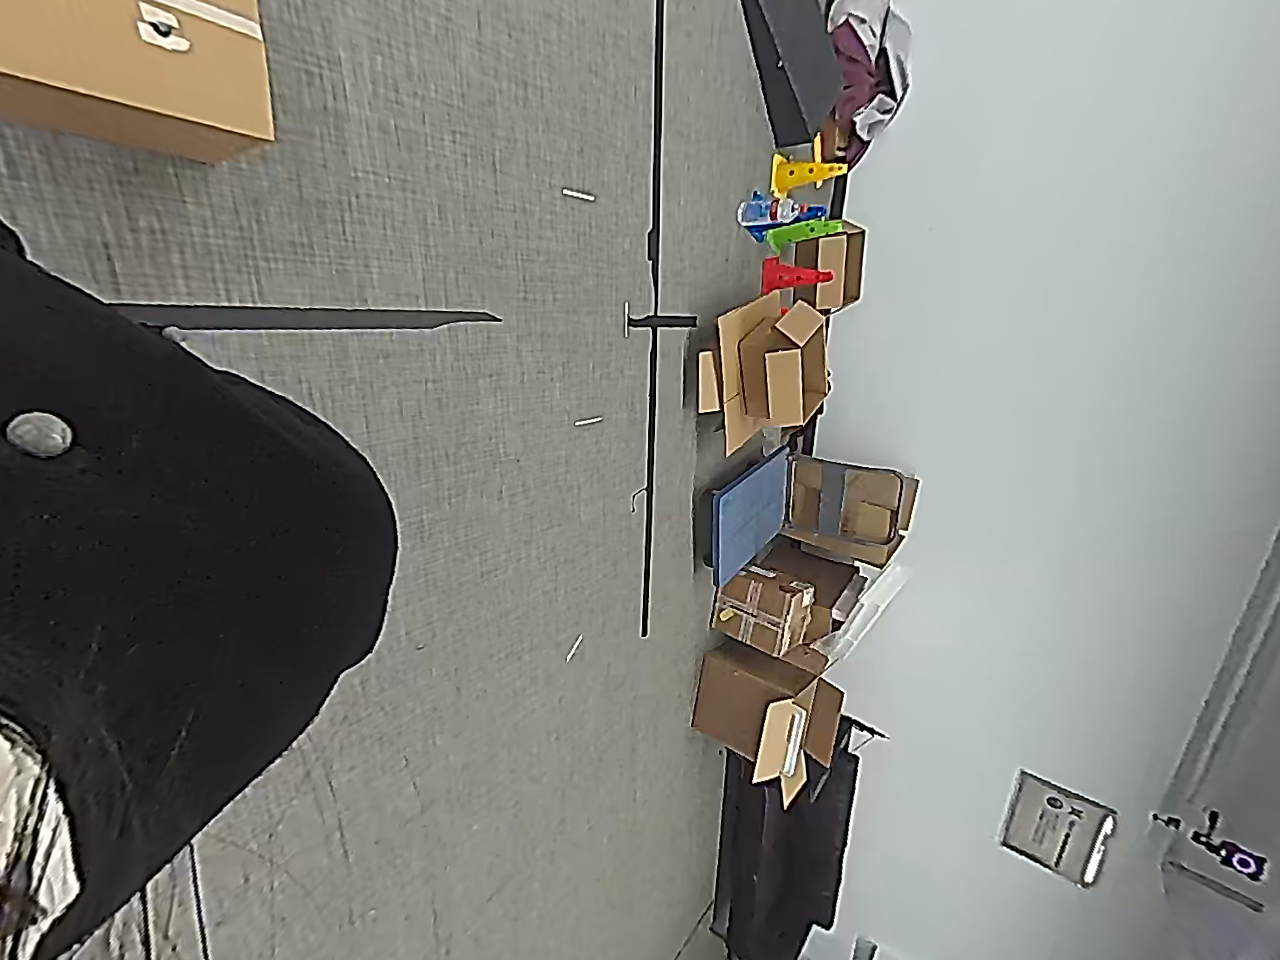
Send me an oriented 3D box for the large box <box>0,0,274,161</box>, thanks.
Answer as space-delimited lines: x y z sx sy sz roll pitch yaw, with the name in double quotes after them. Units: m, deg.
-0.868 -0.726 0.829 0.408 0.320 0.320 -18 116 -51 "large box"
